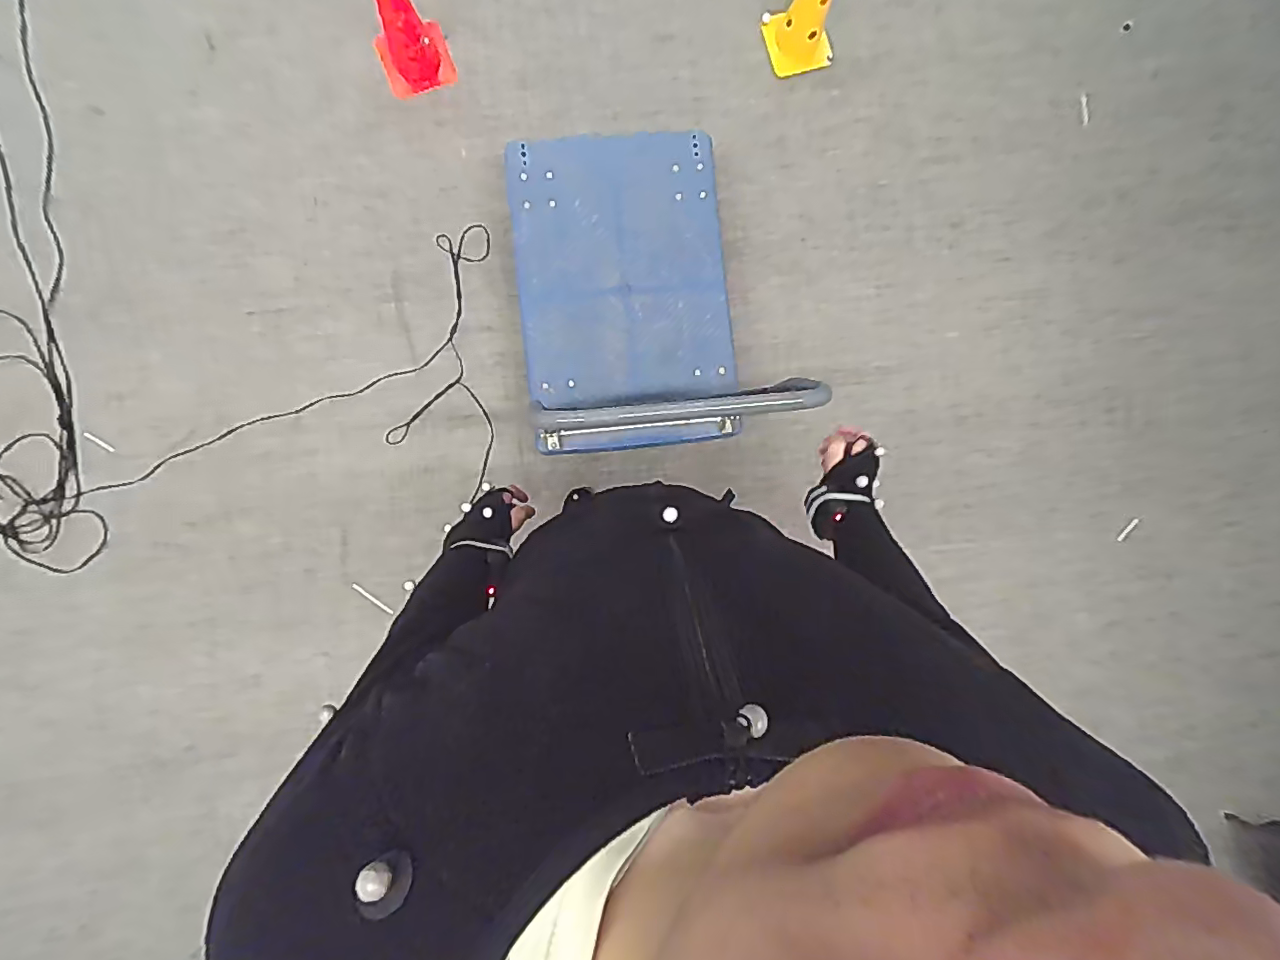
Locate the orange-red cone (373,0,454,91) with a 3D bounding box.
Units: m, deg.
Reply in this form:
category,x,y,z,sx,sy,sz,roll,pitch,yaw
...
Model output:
category,x,y,z,sx,sy,sz,roll,pitch,yaw
orange-red cone,-0.664,-1.279,1.445,0.199,0.360,0.198,-21,90,-4
